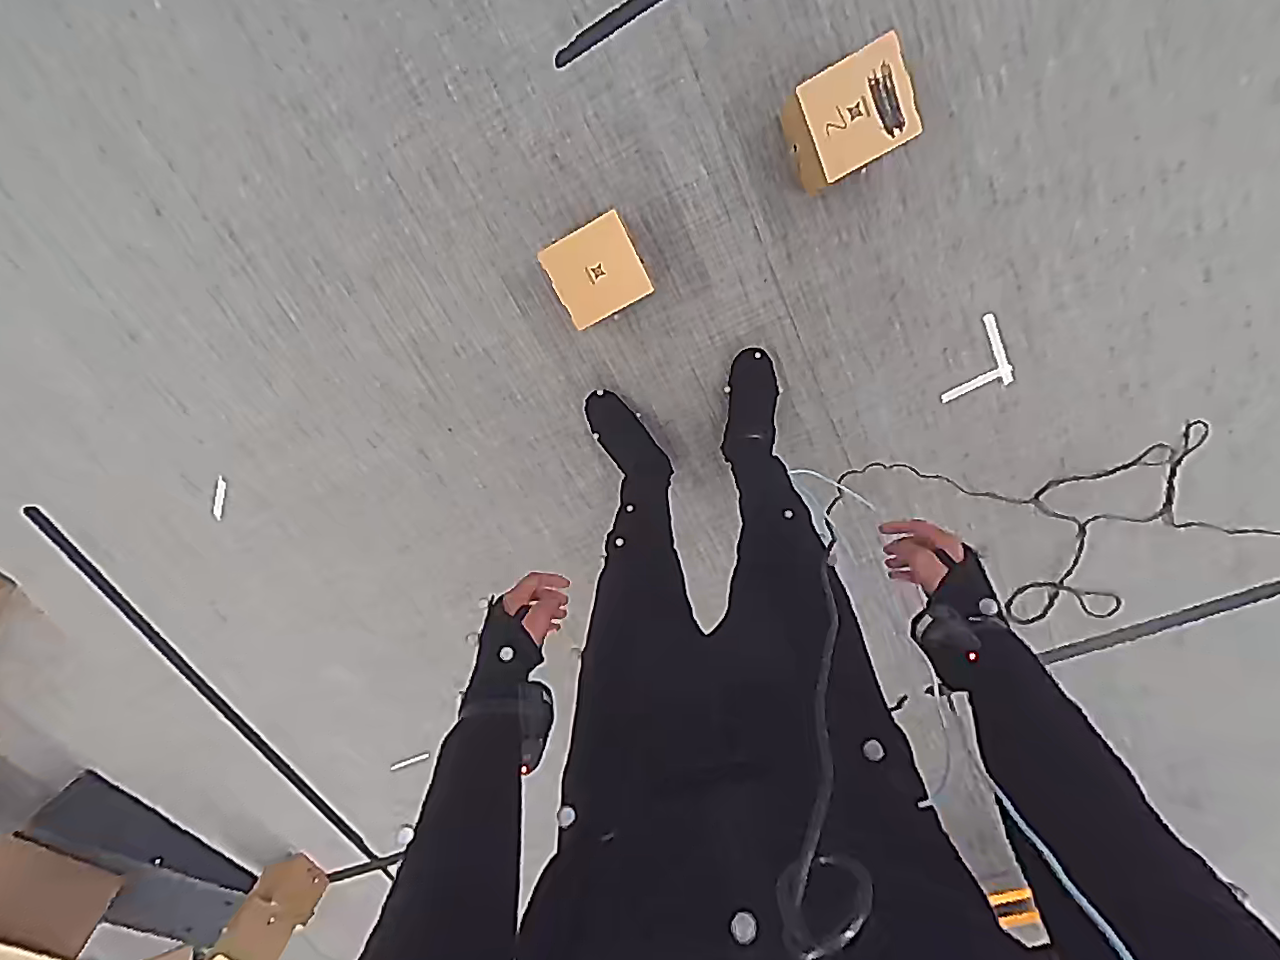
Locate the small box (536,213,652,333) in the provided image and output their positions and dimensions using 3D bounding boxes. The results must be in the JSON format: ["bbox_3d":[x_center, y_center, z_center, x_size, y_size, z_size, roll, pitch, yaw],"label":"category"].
[{"bbox_3d":[-0.086,-0.429,1.120,0.179,0.176,0.168,-25,109,13],"label":"small box"}]
